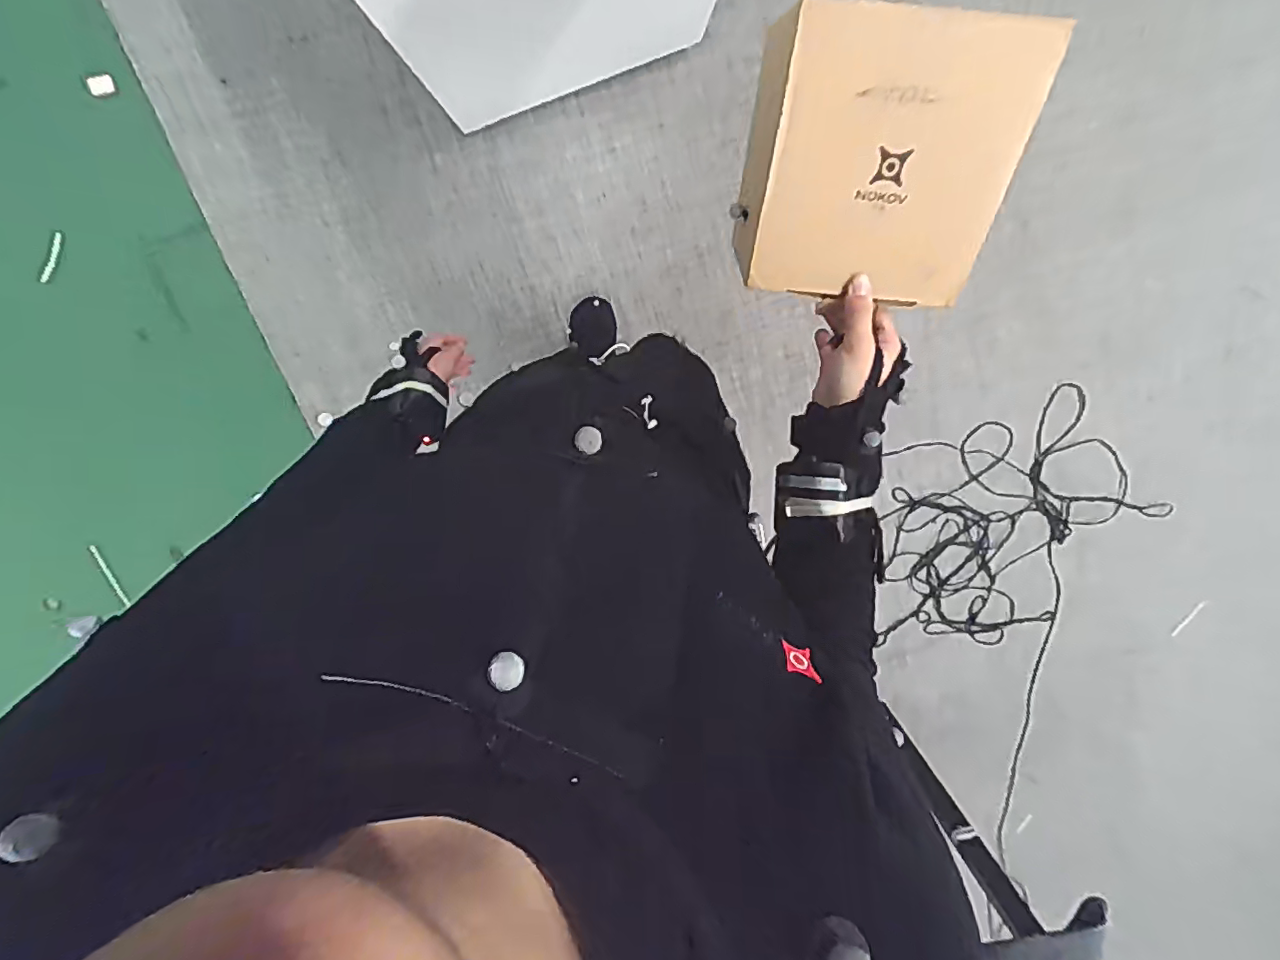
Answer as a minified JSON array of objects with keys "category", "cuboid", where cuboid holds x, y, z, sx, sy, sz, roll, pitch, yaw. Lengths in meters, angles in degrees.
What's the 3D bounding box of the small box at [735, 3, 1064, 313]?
[{"category":"small box","cuboid":[0.174,-0.254,0.437,0.168,0.176,0.179,5,125,0]}]
